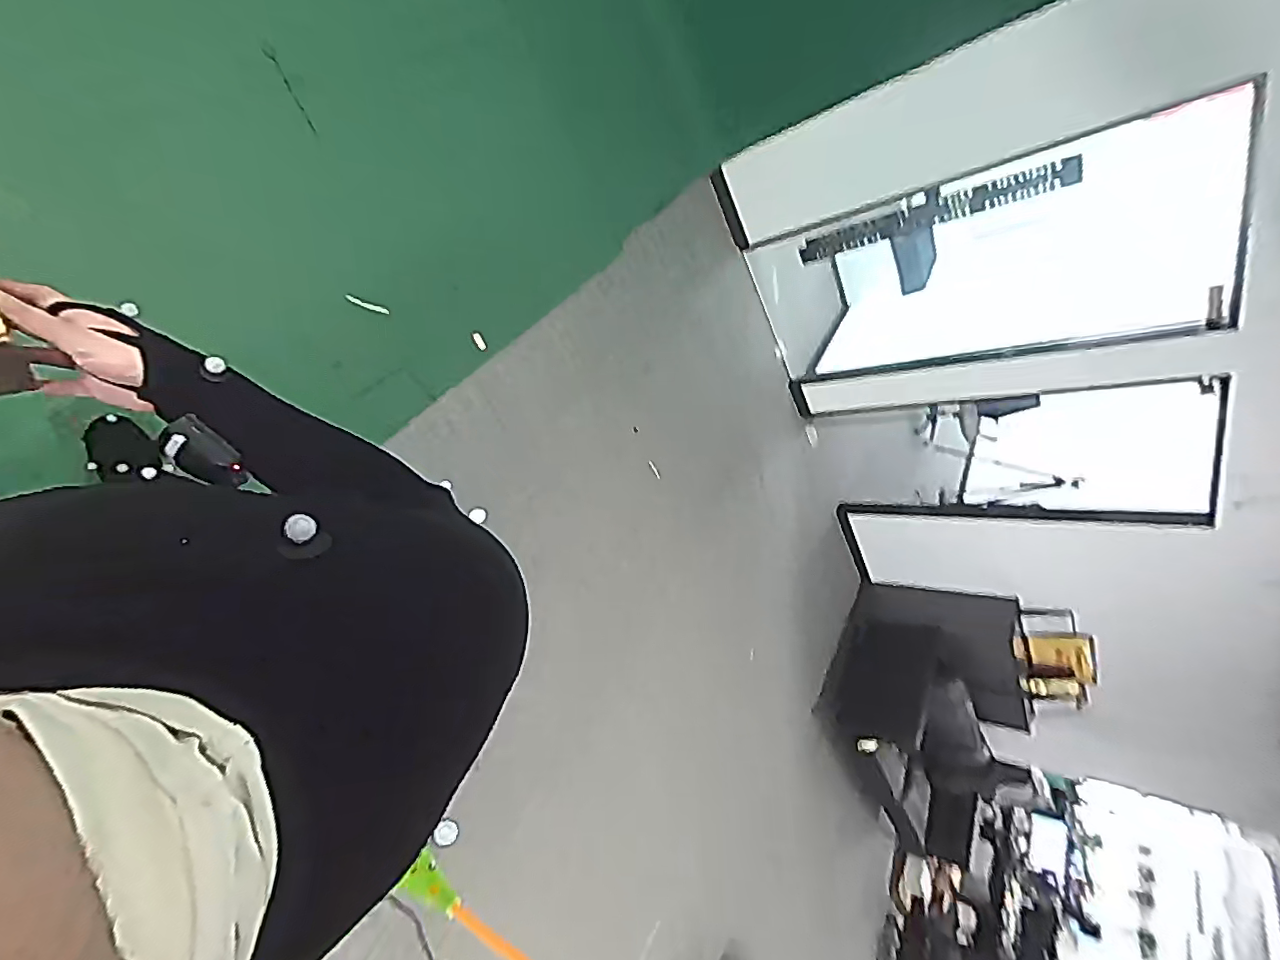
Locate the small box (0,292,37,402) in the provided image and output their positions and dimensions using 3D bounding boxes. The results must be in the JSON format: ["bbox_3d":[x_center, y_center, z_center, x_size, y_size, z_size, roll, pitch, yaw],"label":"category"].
[{"bbox_3d":[-0.582,-0.145,0.380,0.168,0.176,0.179,-26,102,-42],"label":"small box"}]
